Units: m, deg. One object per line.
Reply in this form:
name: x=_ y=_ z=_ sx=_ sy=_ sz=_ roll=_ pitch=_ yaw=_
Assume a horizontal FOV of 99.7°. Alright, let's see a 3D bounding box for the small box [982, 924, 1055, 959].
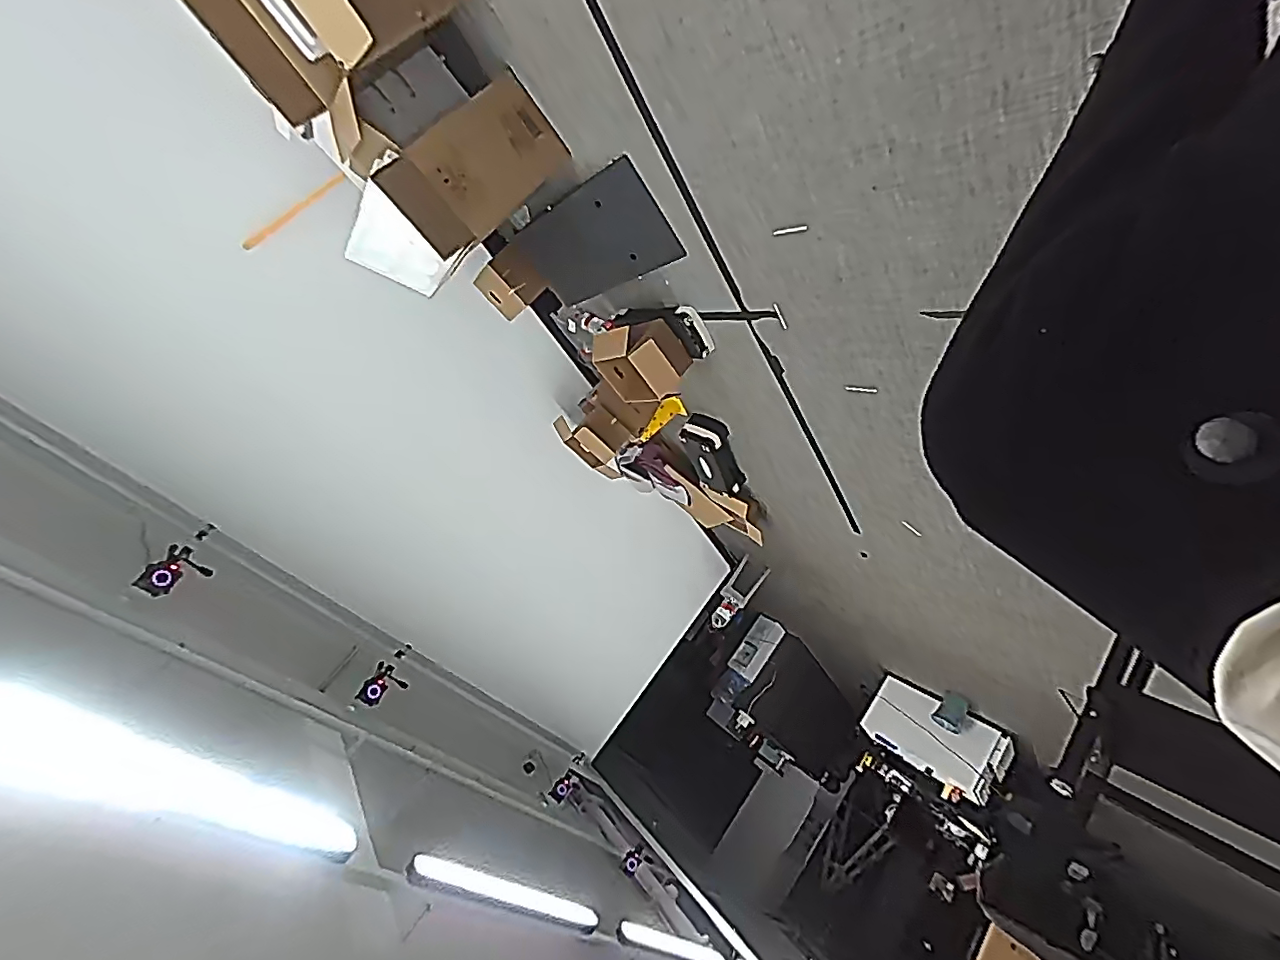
small box: x=1.051 y=1.362 z=1.476 sx=0.179 sy=0.176 sz=0.168 roll=43 pitch=165 yaw=-32
